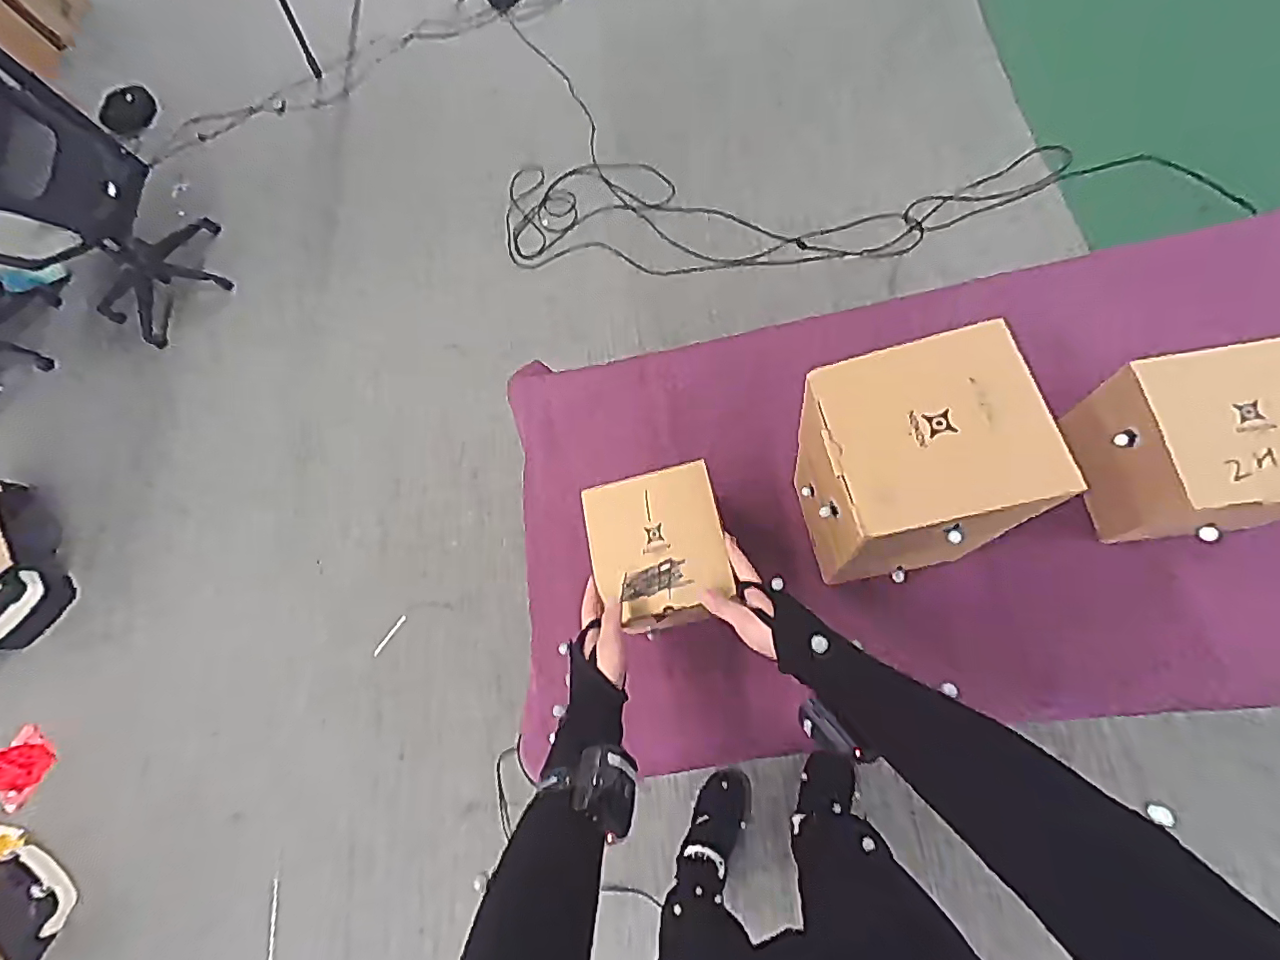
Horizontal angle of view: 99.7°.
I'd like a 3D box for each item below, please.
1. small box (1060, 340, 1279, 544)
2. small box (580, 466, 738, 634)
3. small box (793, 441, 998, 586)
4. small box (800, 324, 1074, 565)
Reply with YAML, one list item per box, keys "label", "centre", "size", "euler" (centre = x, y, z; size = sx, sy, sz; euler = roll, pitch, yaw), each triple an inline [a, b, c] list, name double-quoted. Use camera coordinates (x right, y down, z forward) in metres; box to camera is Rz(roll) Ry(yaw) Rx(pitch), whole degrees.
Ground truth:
- label: "small box"
  centre: [0.640, -0.034, 0.632]
  size: [0.168, 0.176, 0.179]
  euler: [-8, 70, 11]
- label: "small box"
  centre: [0.032, 0.105, 0.728]
  size: [0.168, 0.176, 0.179]
  euler: [-14, 68, 8]
- label: "small box"
  centre: [0.305, 0.031, 0.691]
  size: [0.179, 0.176, 0.168]
  euler: [-14, 69, 8]
- label: "small box"
  centre: [0.266, -0.020, 0.540]
  size: [0.179, 0.176, 0.168]
  euler: [-14, 70, 9]
